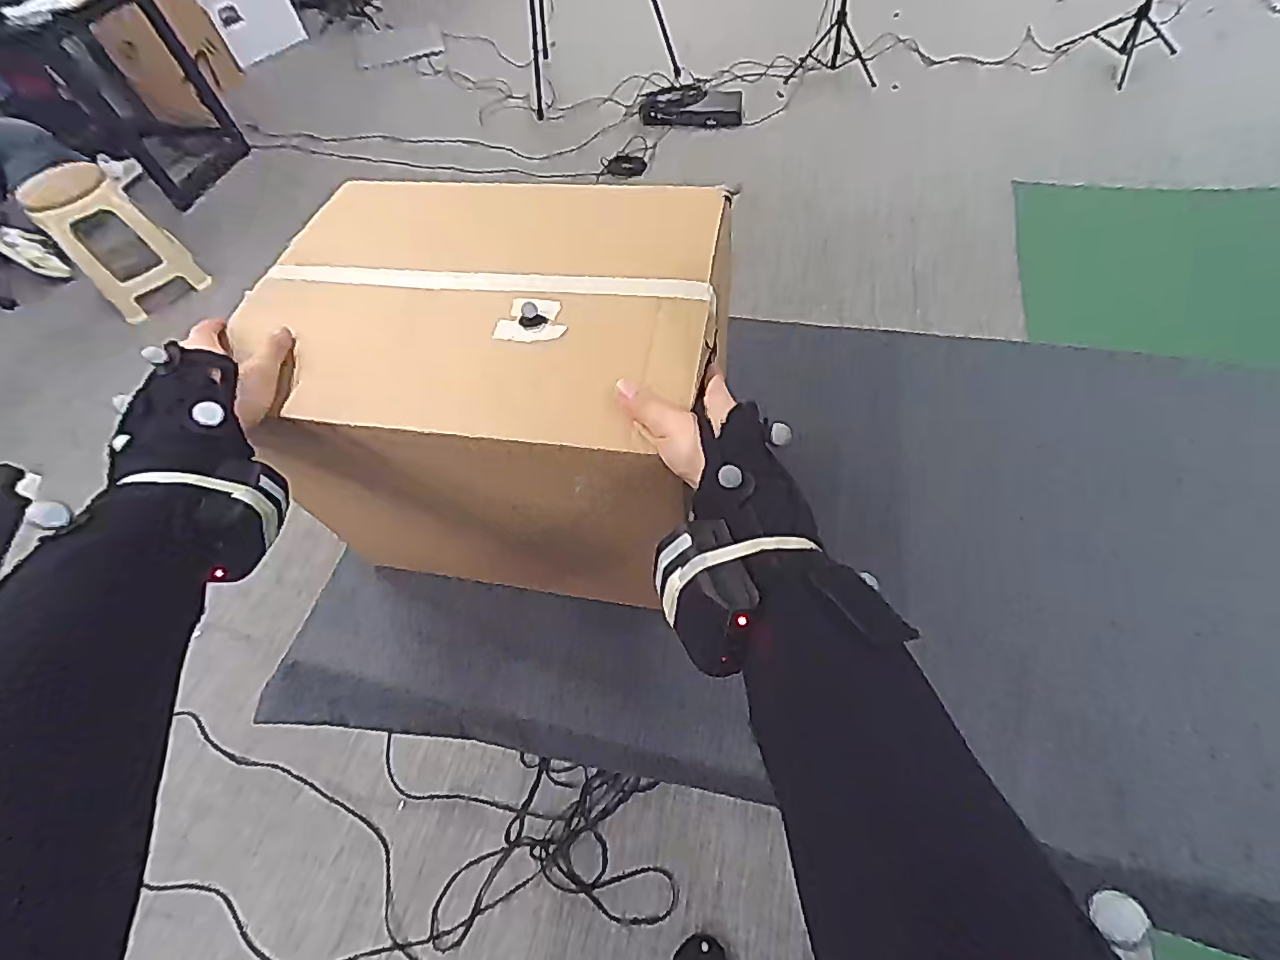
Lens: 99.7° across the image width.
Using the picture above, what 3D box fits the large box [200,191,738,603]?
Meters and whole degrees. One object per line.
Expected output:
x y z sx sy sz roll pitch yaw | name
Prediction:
-0.117 -0.083 0.594 0.408 0.320 0.320 7 59 9 | large box
